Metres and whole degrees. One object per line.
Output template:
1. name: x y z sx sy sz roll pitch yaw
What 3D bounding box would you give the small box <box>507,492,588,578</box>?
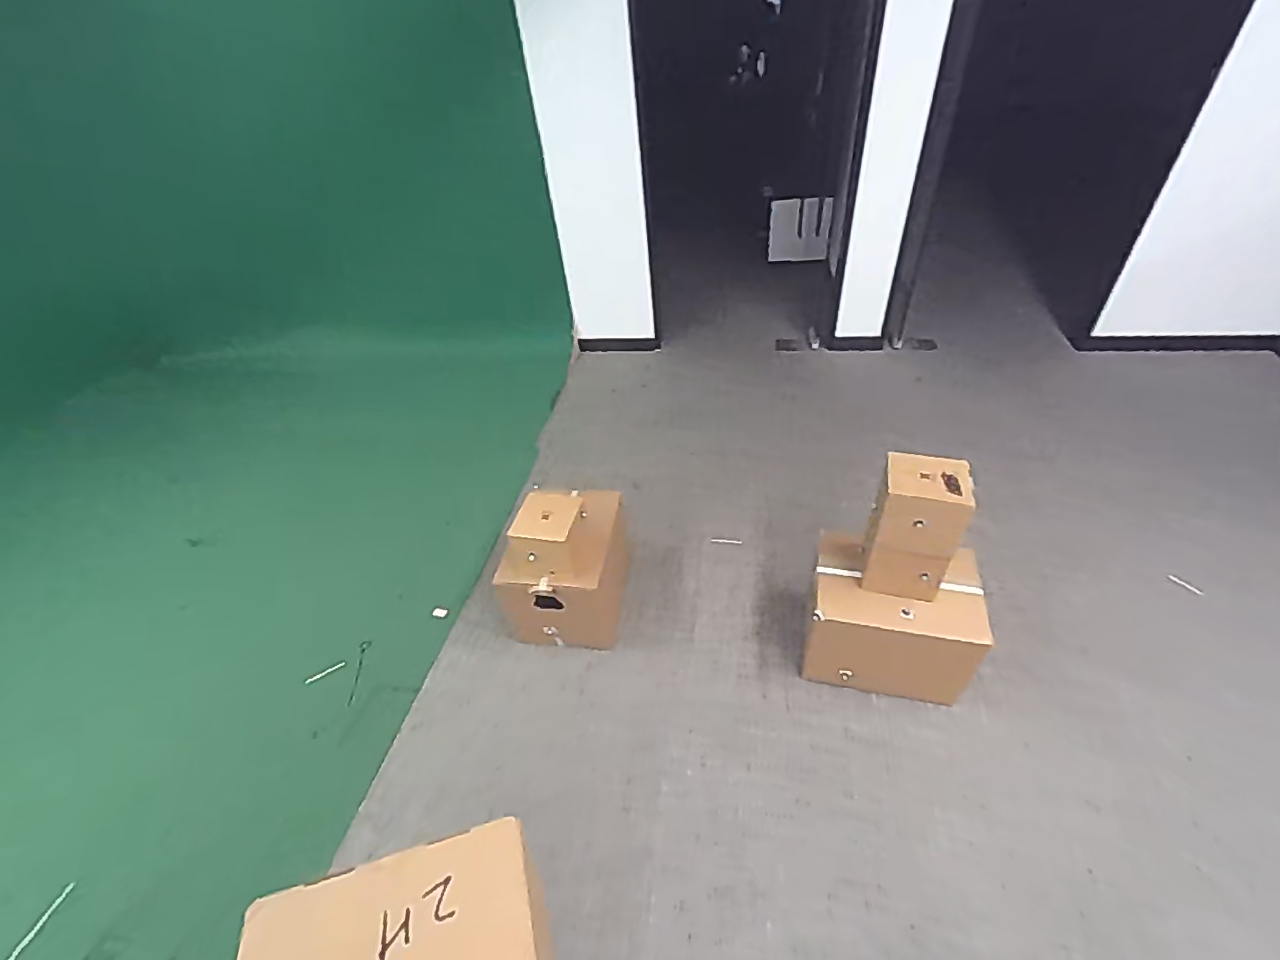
1. small box: -0.253 0.158 1.535 0.168 0.176 0.179 5 41 12

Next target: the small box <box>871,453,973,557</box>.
1. small box: 0.659 0.060 1.279 0.179 0.176 0.168 9 41 18

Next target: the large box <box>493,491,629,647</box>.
1. large box: -0.232 0.284 1.762 0.320 0.320 0.408 2 41 10

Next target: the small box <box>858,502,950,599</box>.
1. small box: 0.671 0.183 1.387 0.179 0.176 0.168 9 41 17
